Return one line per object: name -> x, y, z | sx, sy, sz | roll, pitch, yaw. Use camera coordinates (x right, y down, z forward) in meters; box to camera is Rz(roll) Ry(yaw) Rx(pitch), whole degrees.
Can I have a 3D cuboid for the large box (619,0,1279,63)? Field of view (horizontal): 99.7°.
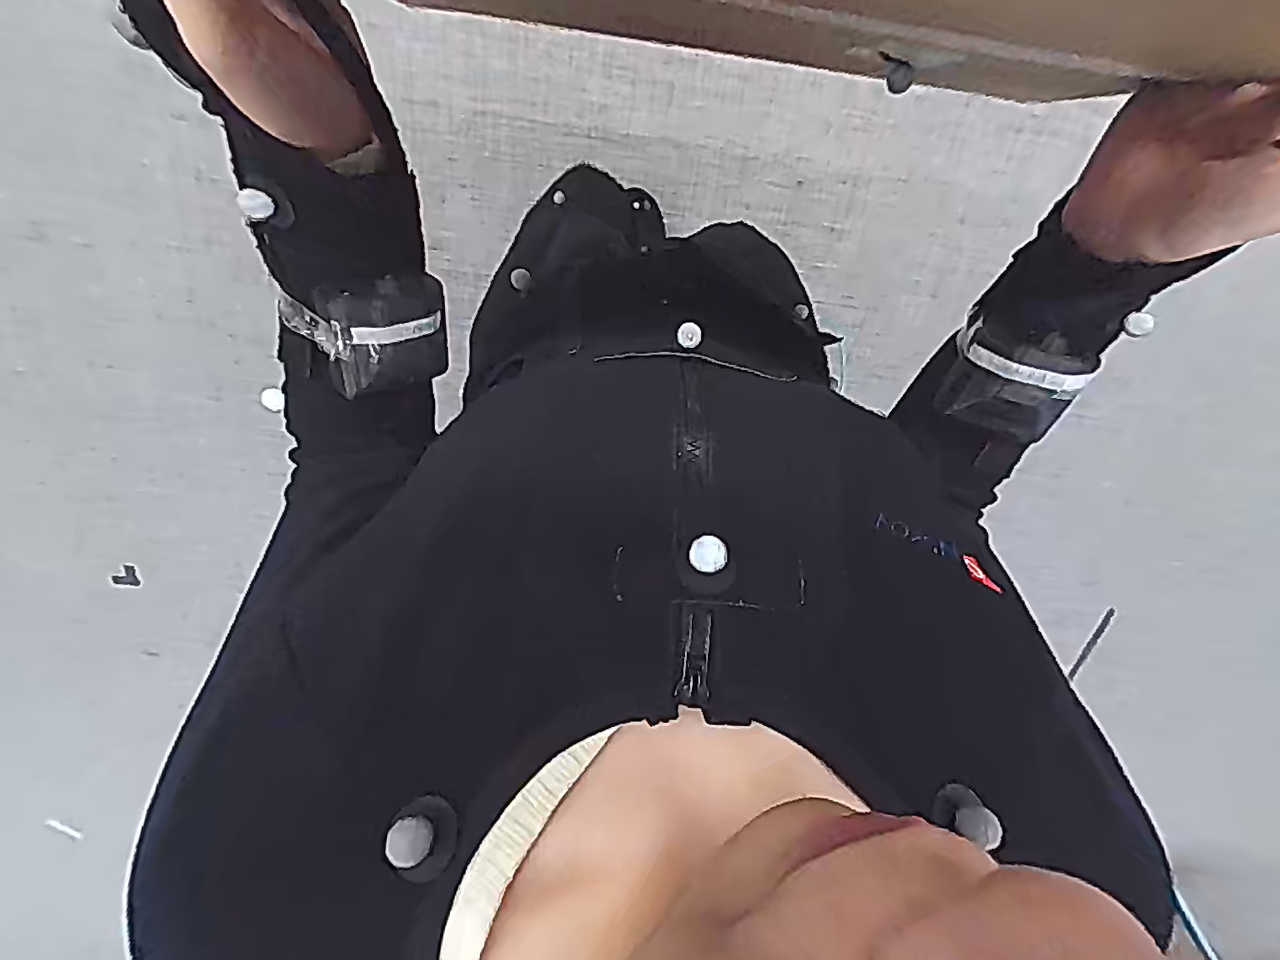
large box -> 0.081, -0.328, 0.120 | 0.408, 0.320, 0.320 | 3, 123, -6
